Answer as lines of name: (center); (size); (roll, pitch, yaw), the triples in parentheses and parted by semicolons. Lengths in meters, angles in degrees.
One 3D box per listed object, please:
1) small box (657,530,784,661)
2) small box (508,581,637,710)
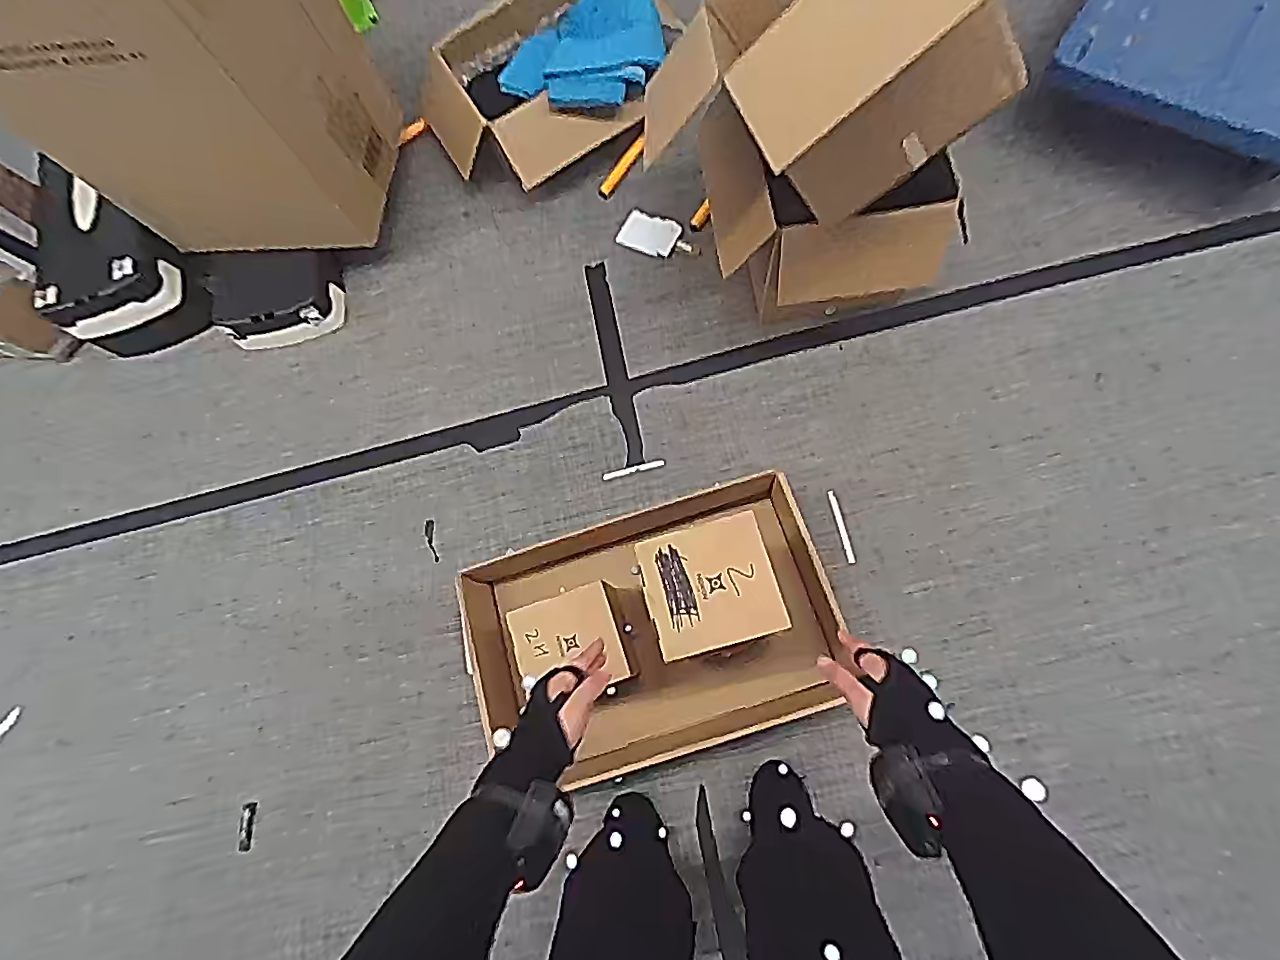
small box: (0.137, 0.207, 0.955); (0.168, 0.176, 0.179); (-19, 74, 3)
small box: (-0.110, 0.289, 0.961); (0.179, 0.176, 0.168); (-20, 73, 0)
